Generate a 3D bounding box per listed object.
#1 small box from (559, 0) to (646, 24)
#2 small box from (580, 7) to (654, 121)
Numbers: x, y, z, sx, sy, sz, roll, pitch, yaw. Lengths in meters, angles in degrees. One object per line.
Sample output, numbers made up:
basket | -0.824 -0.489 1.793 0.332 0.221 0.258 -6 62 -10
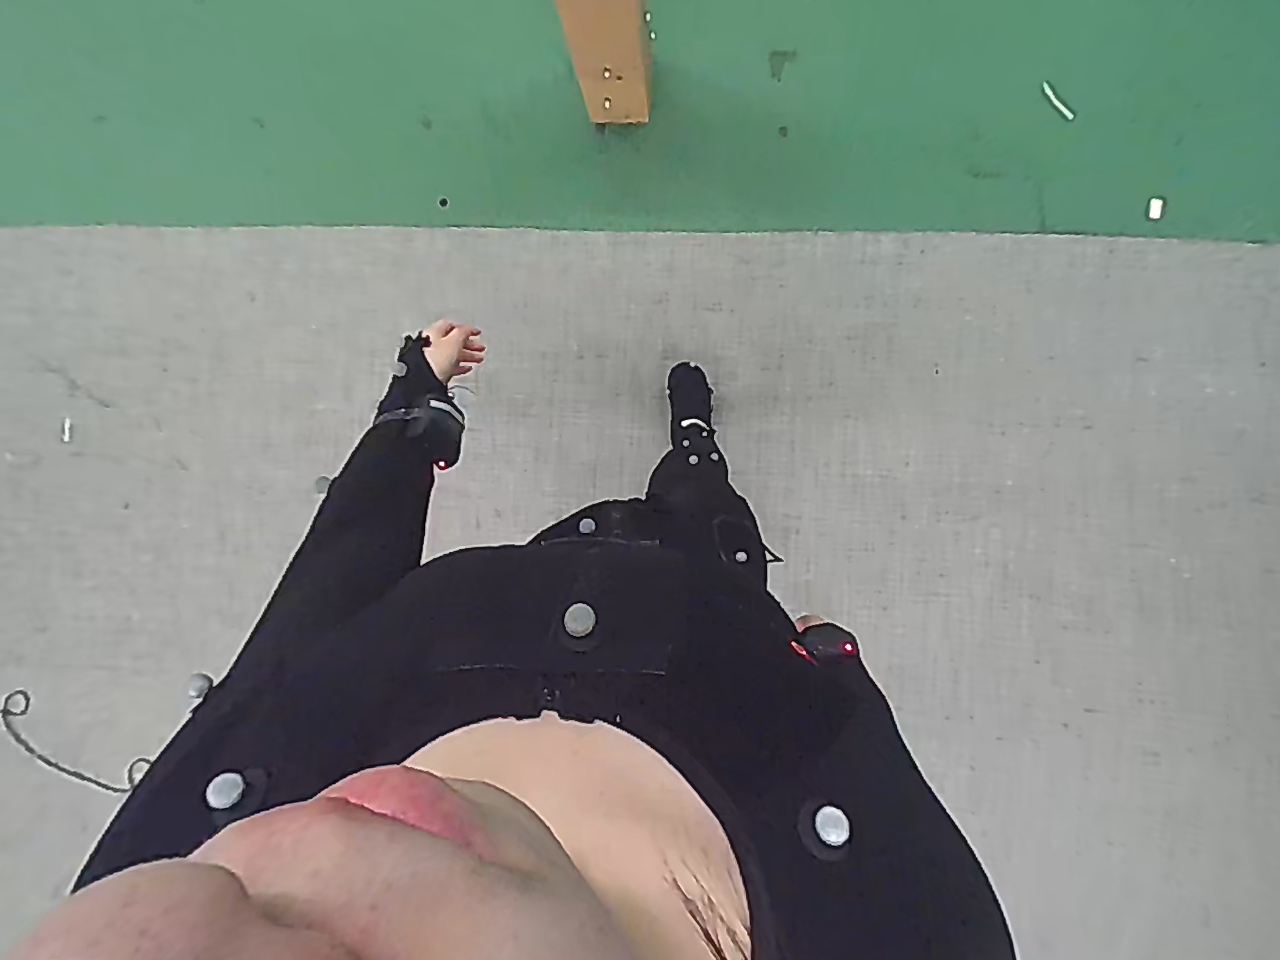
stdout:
small box | -0.078 -1.048 1.065 0.179 0.176 0.168 7 92 4
small box | -0.053 -1.061 1.392 0.168 0.176 0.179 4 91 5
